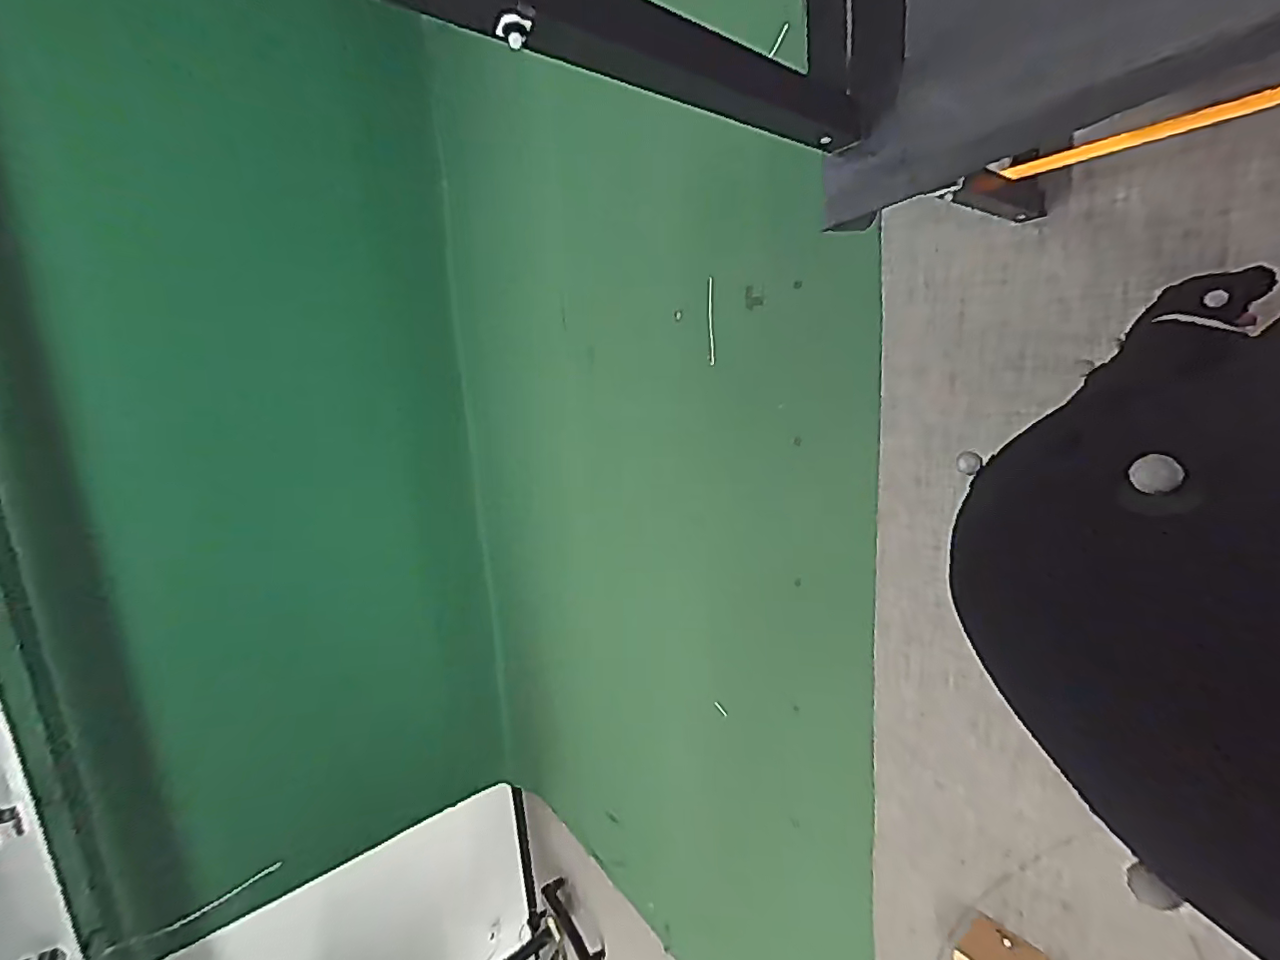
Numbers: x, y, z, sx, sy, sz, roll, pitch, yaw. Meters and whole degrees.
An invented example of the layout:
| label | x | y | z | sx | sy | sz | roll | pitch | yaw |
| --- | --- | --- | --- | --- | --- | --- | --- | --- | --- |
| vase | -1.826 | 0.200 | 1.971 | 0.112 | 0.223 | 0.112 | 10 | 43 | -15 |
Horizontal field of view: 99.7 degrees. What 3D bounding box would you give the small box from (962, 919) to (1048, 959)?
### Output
| label | x | y | z | sx | sy | sz | roll | pitch | yaw |
| --- | --- | --- | --- | --- | --- | --- | --- | --- | --- |
| small box | 0.992 | 1.363 | 1.464 | 0.168 | 0.176 | 0.179 | 10 | 106 | 52 |
